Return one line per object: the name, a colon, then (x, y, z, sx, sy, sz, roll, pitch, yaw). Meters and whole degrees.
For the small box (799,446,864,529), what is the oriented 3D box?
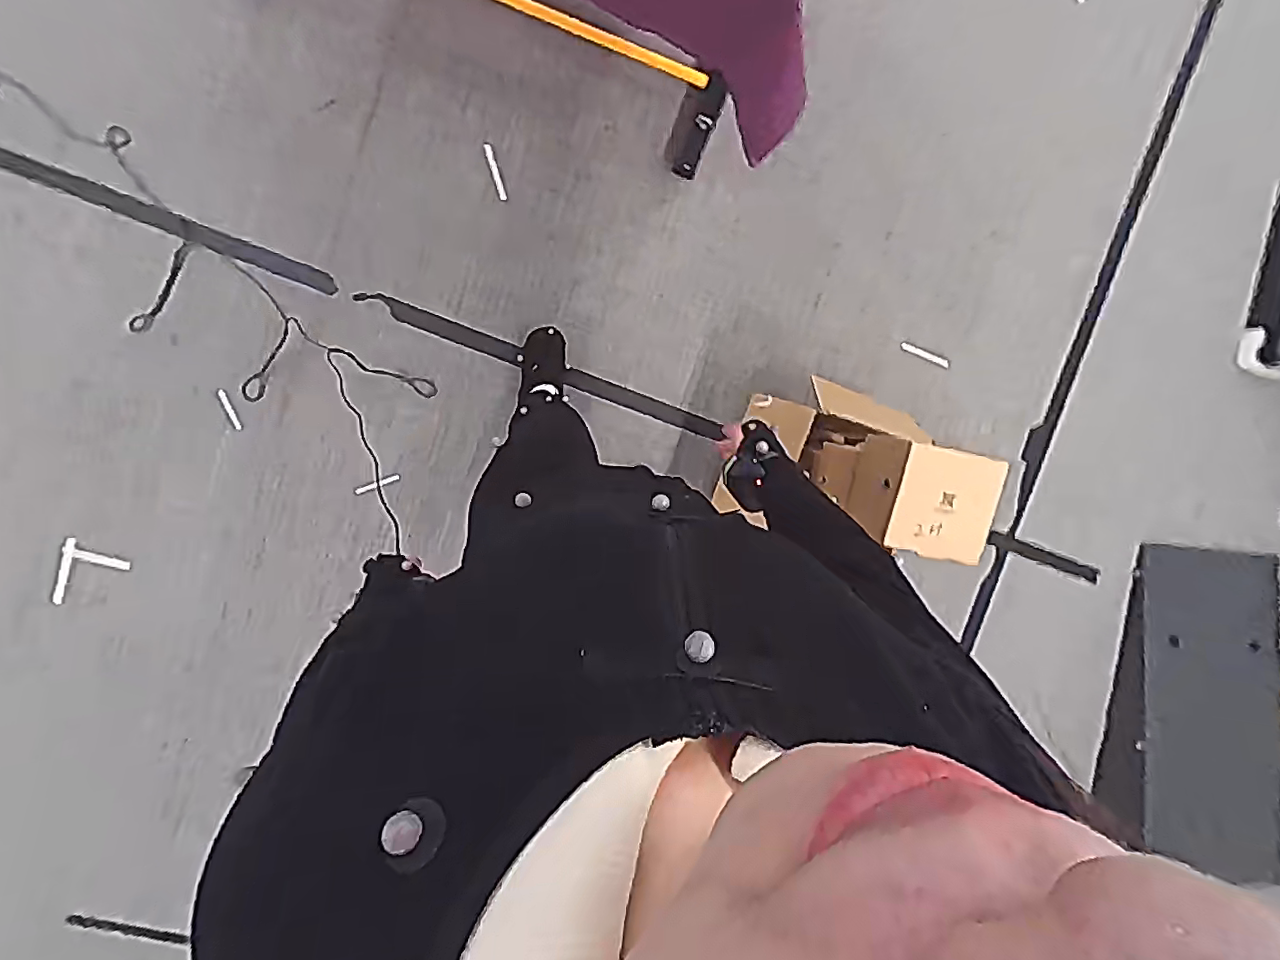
small box: (0.485, 0.011, 1.282, 0.168, 0.176, 0.179, -1, 99, -2)

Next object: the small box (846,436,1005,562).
small box: (0.487, 0.024, 0.951, 0.168, 0.176, 0.179, 13, 98, -3)
